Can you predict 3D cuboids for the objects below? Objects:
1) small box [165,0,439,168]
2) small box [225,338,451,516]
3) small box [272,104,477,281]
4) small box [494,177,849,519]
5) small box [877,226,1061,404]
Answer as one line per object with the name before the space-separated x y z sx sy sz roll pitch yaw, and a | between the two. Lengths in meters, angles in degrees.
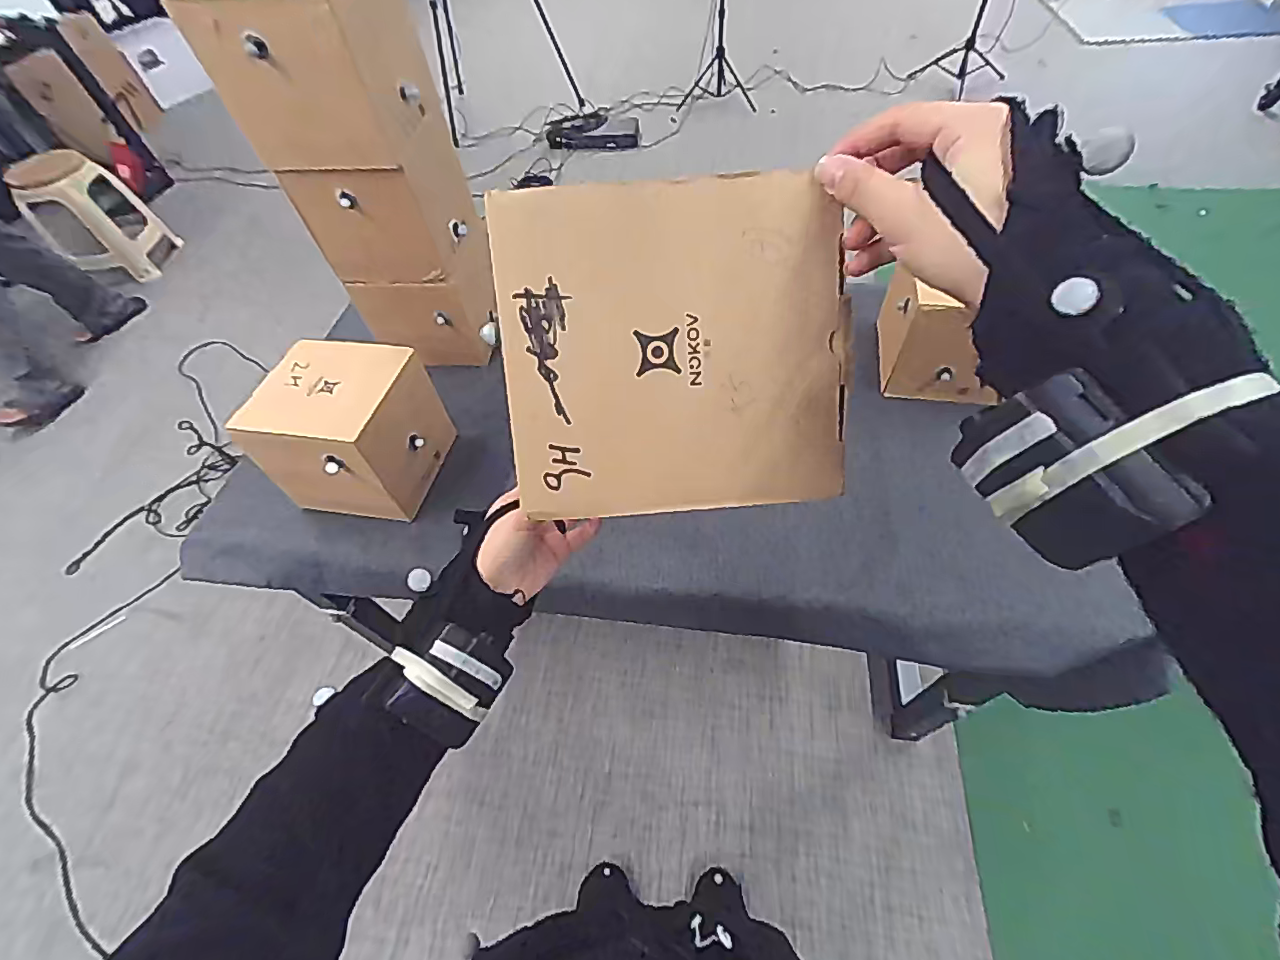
small box | -0.365 -0.484 0.623 0.179 0.176 0.168 4 58 6
small box | -0.383 -0.067 0.729 0.179 0.176 0.168 6 53 9
small box | -0.356 -0.401 0.764 0.179 0.176 0.168 2 58 5
small box | 0.016 -0.078 0.353 0.179 0.176 0.168 -4 100 -2
small box | 0.449 -0.235 0.774 0.168 0.176 0.179 6 58 10
